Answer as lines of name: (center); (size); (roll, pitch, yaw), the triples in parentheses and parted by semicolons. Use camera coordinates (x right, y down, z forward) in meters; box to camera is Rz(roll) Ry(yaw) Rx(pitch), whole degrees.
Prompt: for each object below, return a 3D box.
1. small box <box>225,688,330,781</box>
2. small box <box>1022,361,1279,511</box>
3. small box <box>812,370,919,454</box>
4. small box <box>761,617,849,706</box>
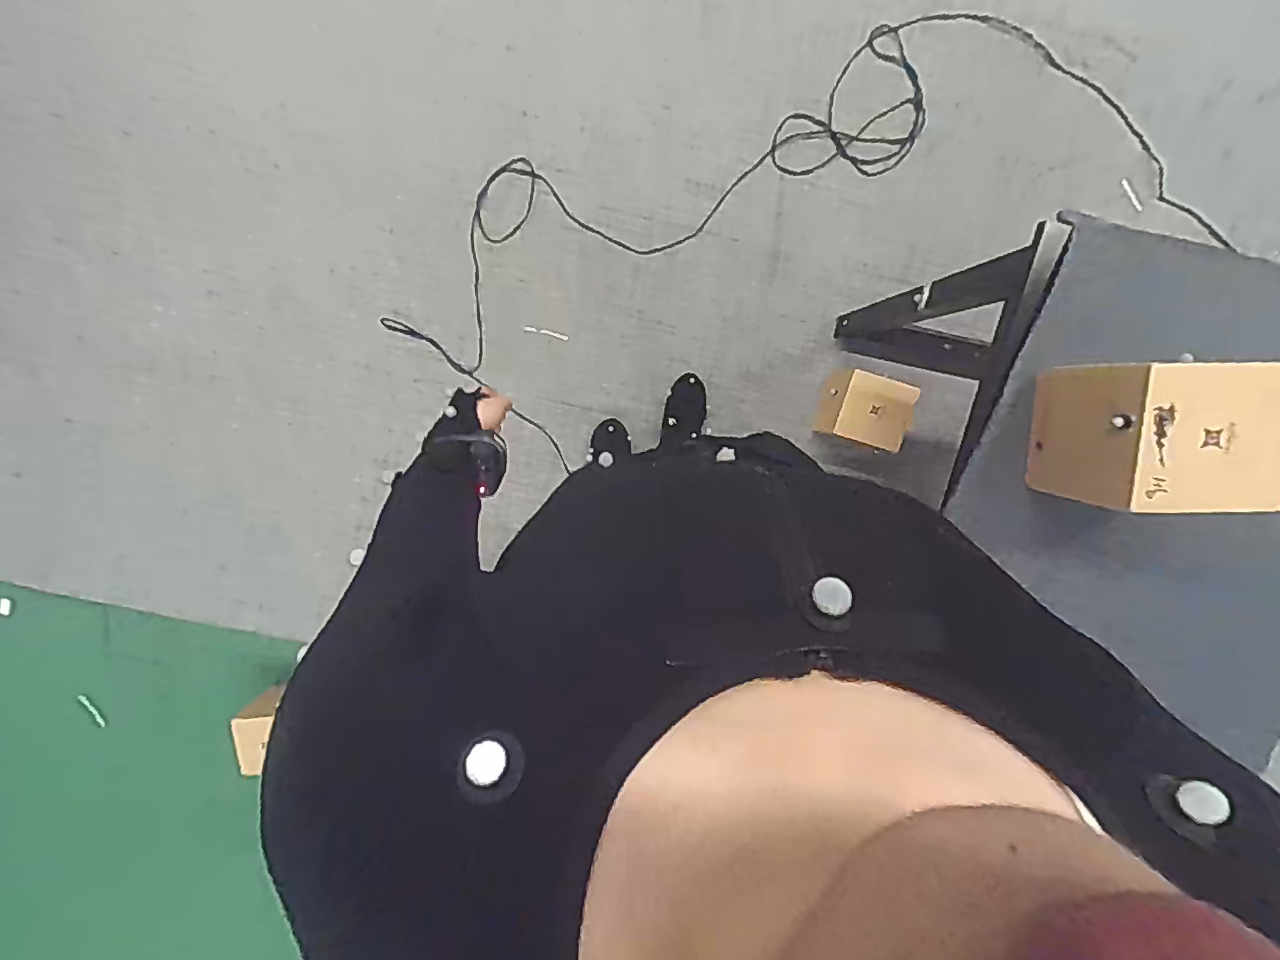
small box: (-0.977, 0.688, 1.480); (0.179, 0.176, 0.168); (-4, 99, 0)
small box: (0.622, -0.059, 0.664); (0.179, 0.176, 0.168); (0, 99, -1)
small box: (0.567, -0.173, 1.385); (0.179, 0.176, 0.168); (16, 98, -4)
small box: (0.441, 0.488, 1.480); (0.179, 0.176, 0.168); (7, 99, -2)
